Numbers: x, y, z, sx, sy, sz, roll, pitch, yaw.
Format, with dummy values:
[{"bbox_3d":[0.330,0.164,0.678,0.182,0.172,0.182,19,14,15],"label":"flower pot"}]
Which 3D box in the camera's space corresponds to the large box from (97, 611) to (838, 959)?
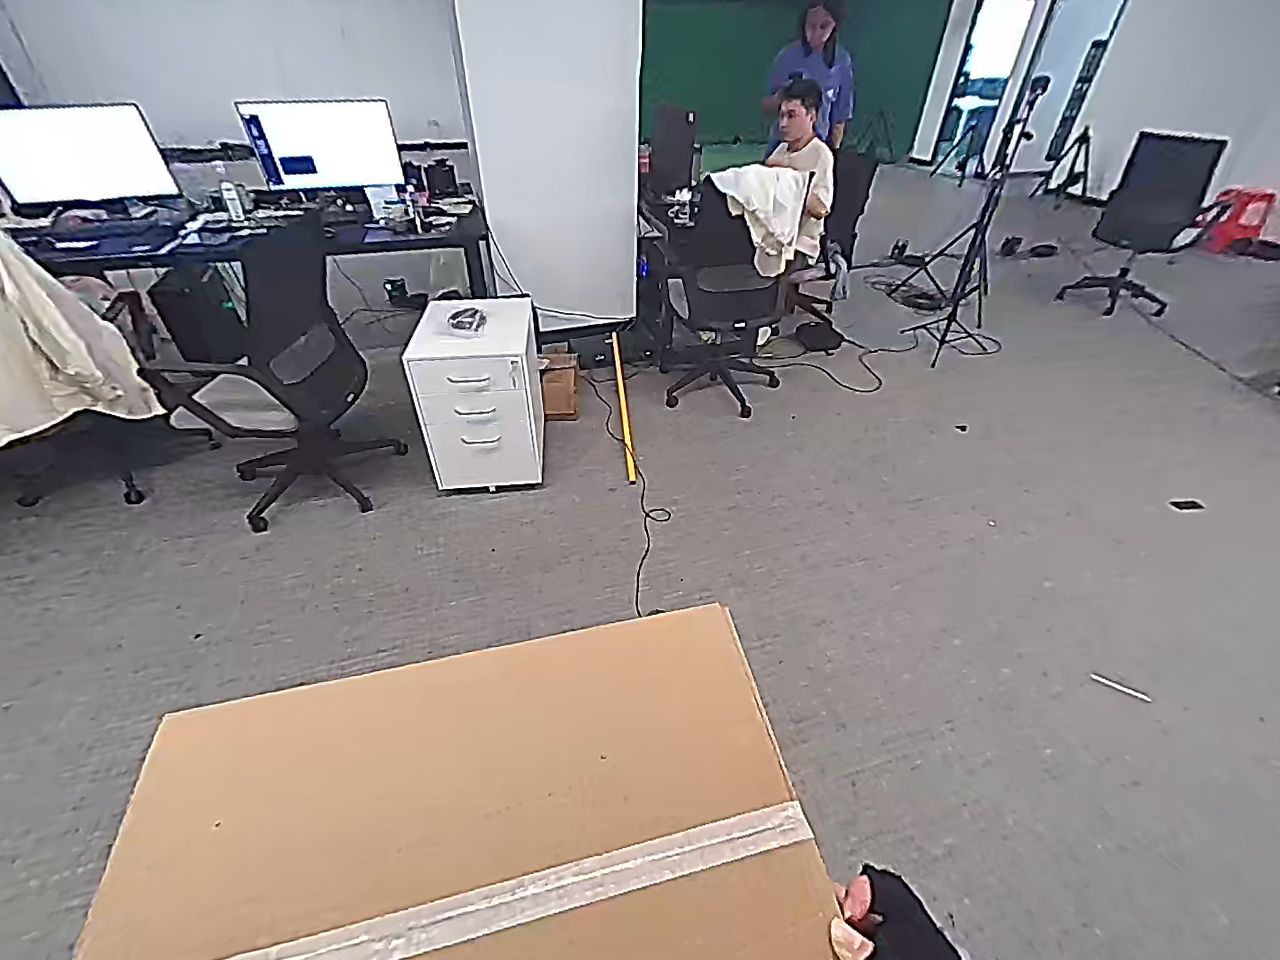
[{"bbox_3d":[-0.099,0.348,0.424,0.408,0.320,0.320,-9,48,-9],"label":"large box"}]
